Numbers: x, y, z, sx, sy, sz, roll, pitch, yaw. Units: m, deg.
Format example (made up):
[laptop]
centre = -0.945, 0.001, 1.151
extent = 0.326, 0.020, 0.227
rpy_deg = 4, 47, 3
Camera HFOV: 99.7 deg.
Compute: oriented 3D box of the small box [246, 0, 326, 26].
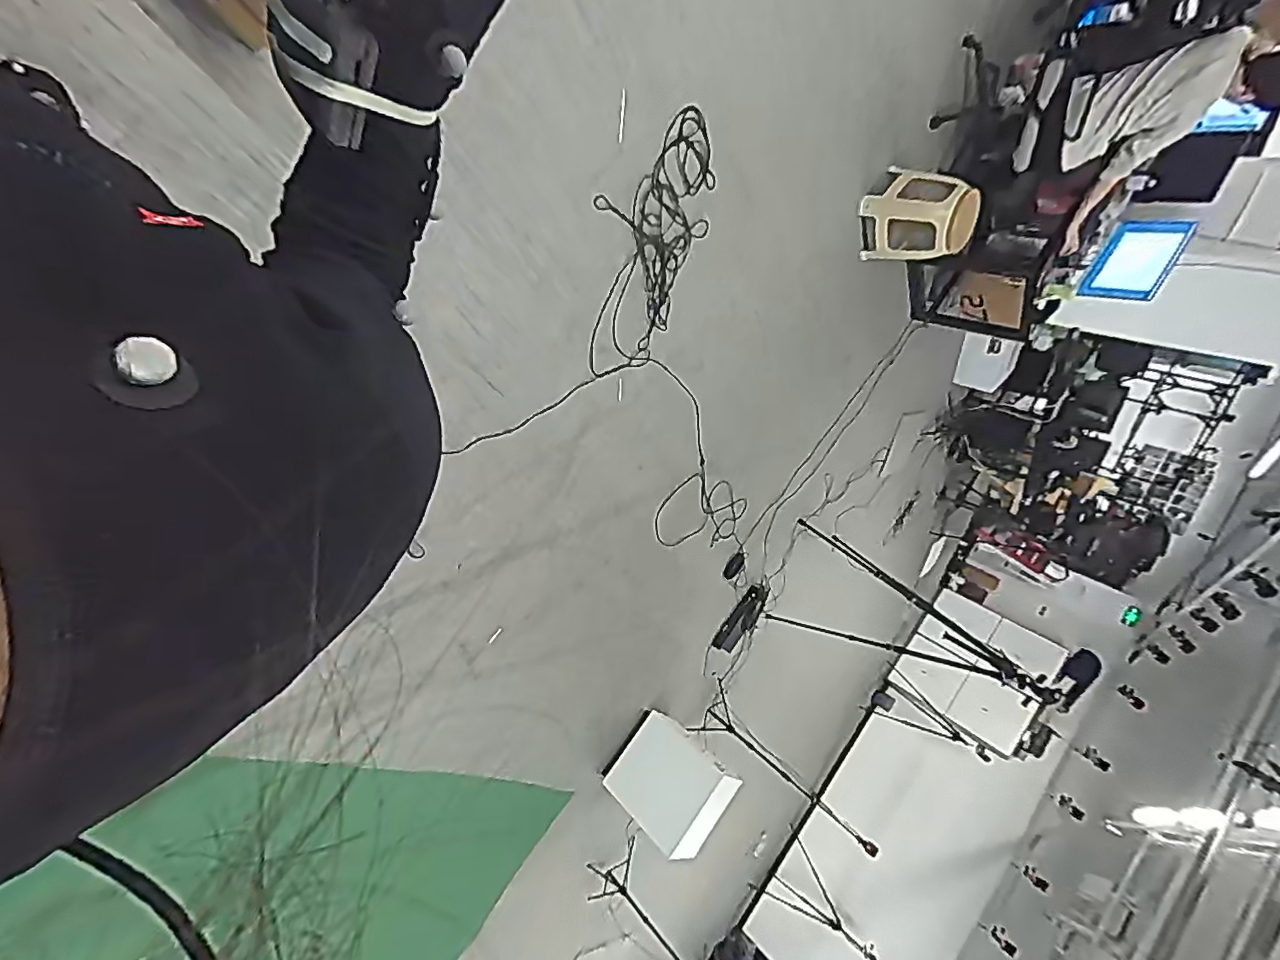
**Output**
[small box]
centre = -0.572, -0.848, 0.835
extent = 0.168, 0.176, 0.179
rpy_deg = -55, 140, -6
